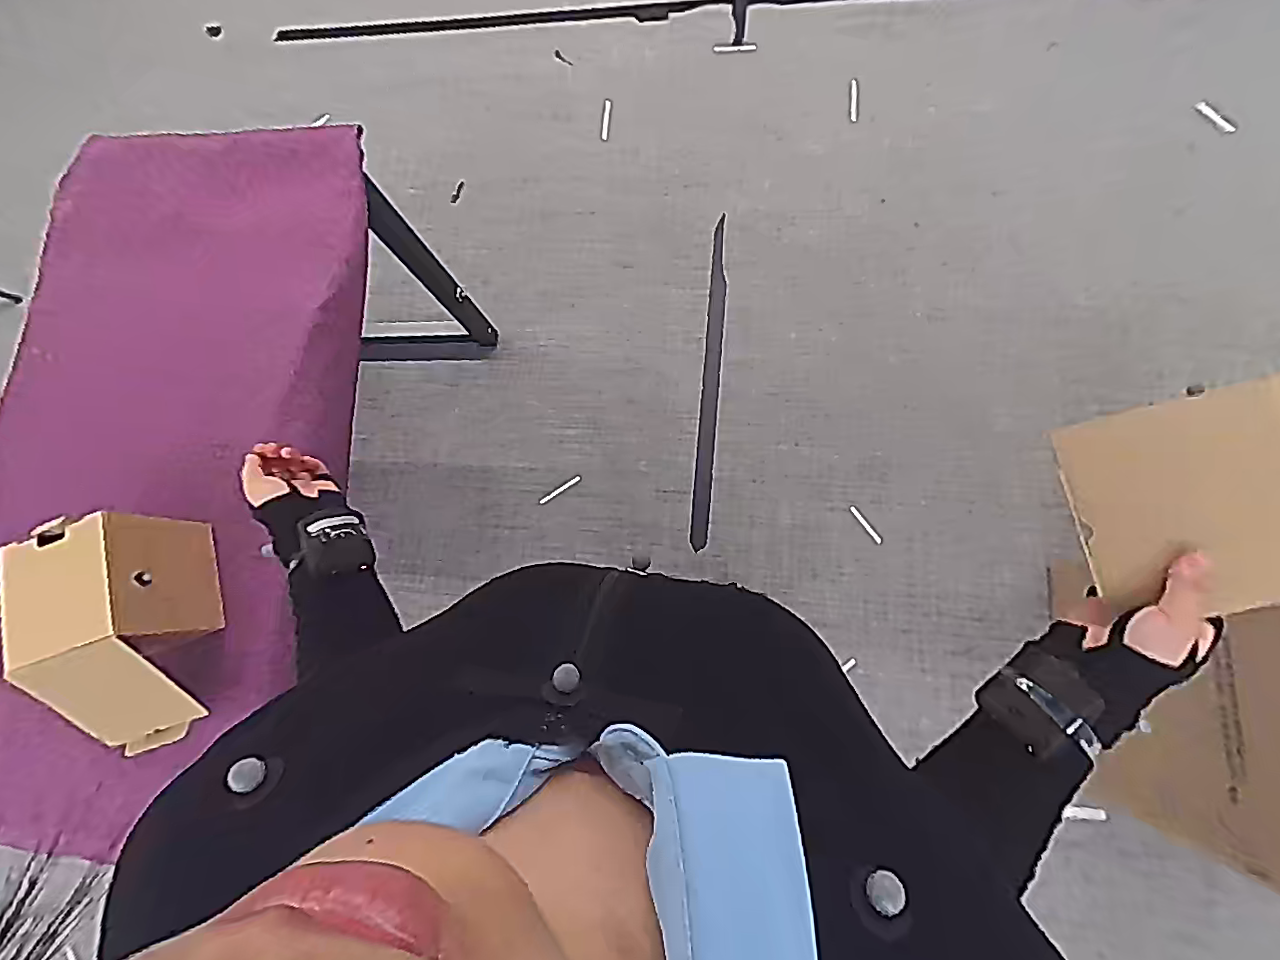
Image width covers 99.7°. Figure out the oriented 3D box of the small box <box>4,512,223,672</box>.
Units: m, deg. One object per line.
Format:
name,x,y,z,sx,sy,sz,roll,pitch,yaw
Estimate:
small box,-0.761,0.163,0.798,0.168,0.176,0.179,-19,76,3
